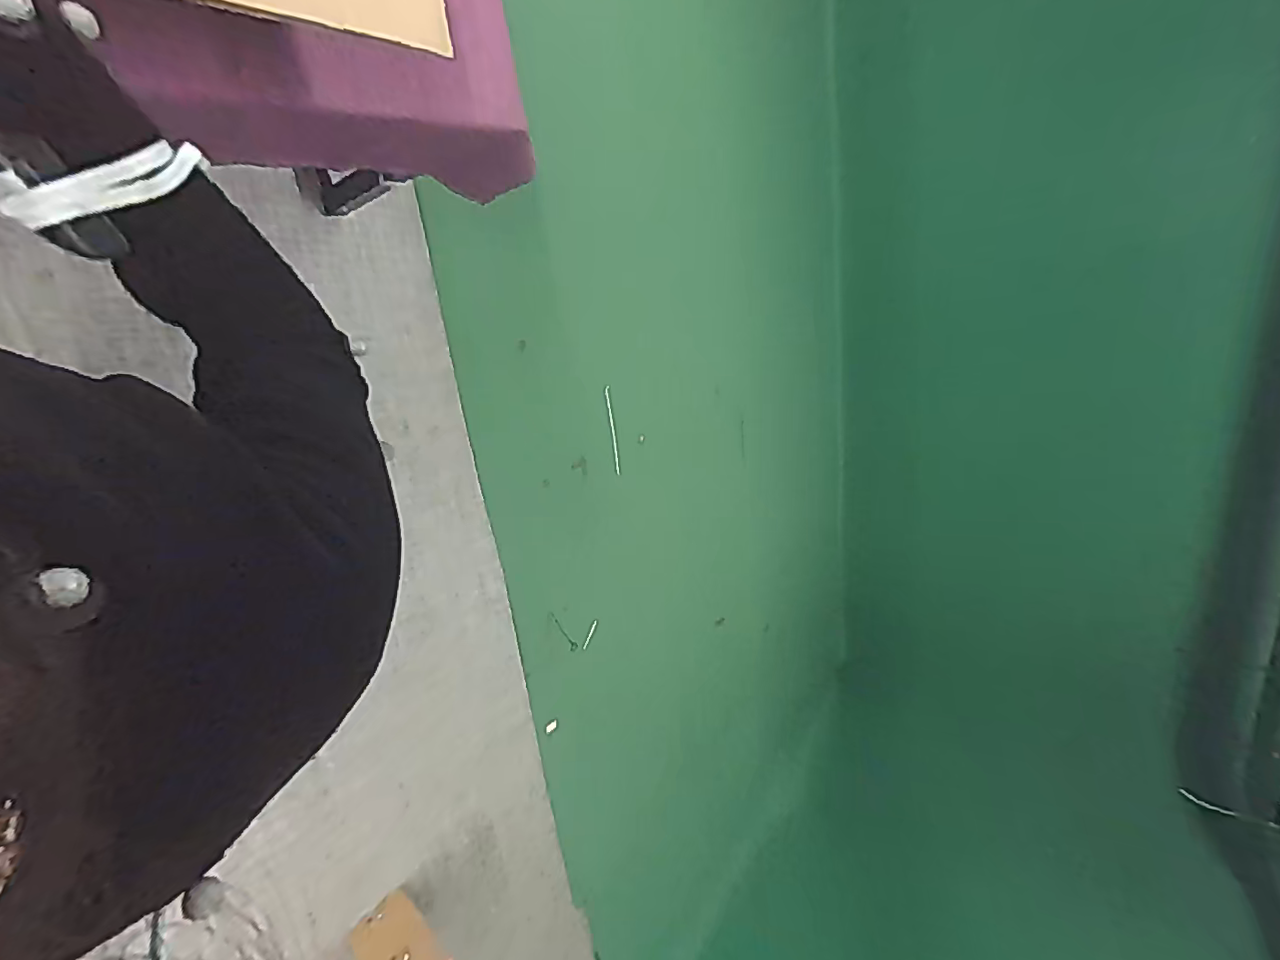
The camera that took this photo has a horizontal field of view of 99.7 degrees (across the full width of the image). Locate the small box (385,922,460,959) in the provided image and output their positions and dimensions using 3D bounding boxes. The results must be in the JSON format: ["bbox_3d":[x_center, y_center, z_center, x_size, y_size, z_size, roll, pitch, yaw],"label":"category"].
[{"bbox_3d":[-0.593,1.391,1.498,0.168,0.176,0.179,-30,117,-44],"label":"small box"}]
